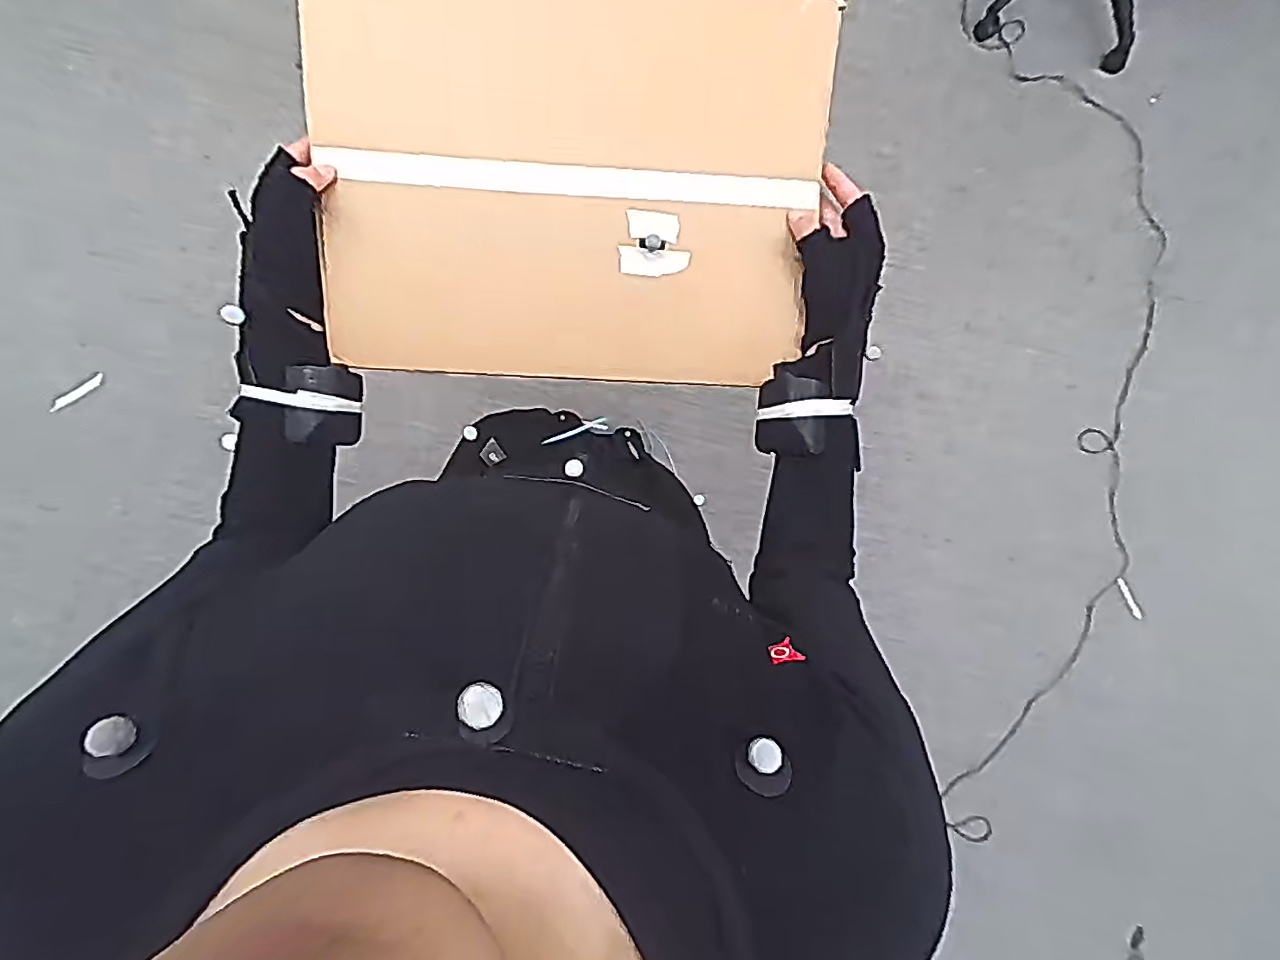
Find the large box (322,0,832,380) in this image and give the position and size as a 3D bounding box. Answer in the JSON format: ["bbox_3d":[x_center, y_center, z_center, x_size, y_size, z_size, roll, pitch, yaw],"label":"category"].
[{"bbox_3d":[-0.060,-0.280,0.595,0.408,0.320,0.320,2,104,-5],"label":"large box"}]
